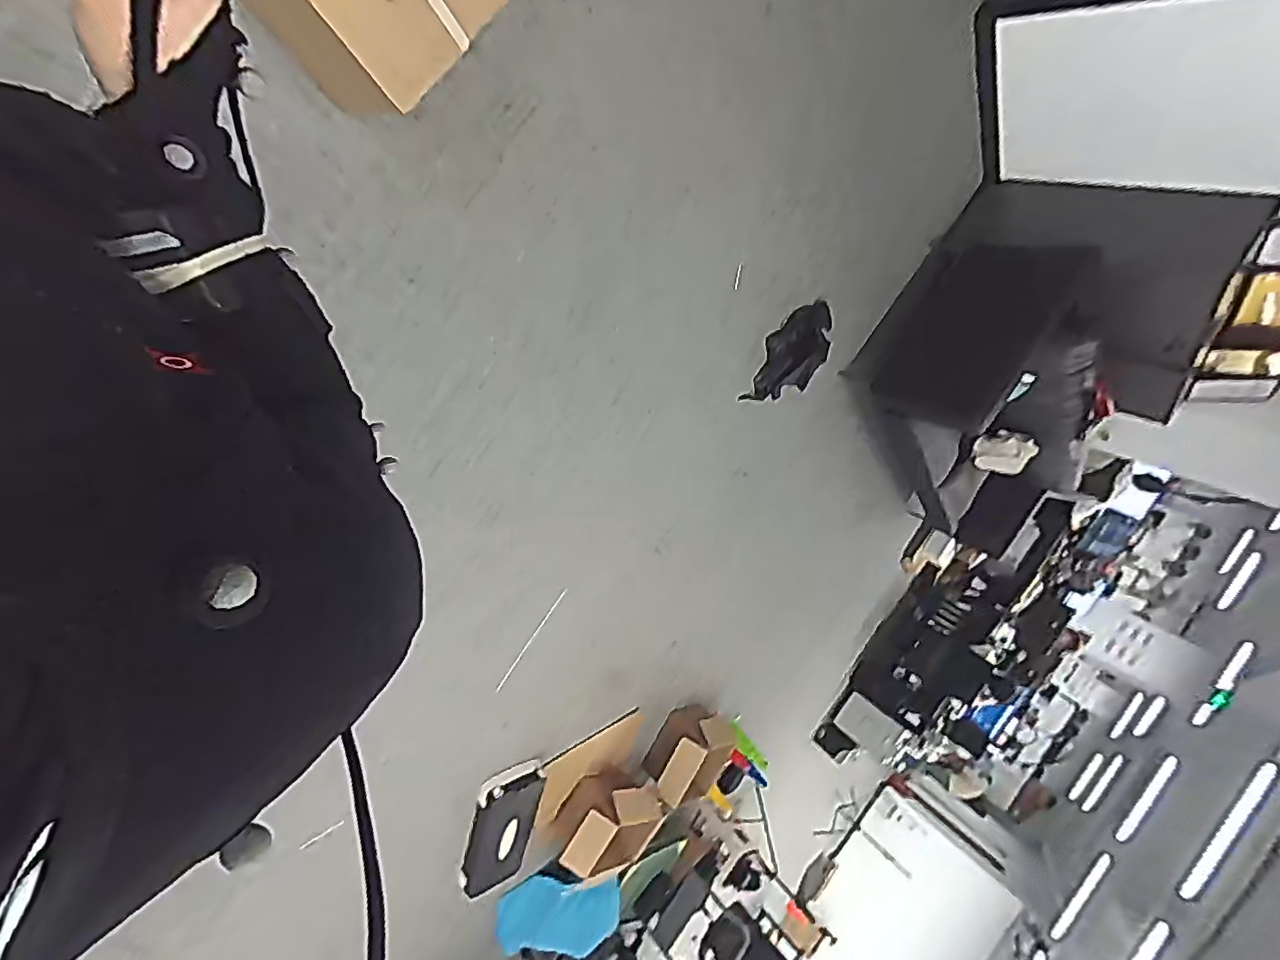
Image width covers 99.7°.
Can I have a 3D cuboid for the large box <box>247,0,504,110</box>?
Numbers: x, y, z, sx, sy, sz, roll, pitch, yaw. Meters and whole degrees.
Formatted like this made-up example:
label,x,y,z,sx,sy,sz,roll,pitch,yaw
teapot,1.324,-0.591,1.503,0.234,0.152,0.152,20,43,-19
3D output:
label,x,y,z,sx,sy,sz,roll,pitch,yaw
large box,-0.479,-0.867,0.829,0.320,0.320,0.408,-51,141,-4
